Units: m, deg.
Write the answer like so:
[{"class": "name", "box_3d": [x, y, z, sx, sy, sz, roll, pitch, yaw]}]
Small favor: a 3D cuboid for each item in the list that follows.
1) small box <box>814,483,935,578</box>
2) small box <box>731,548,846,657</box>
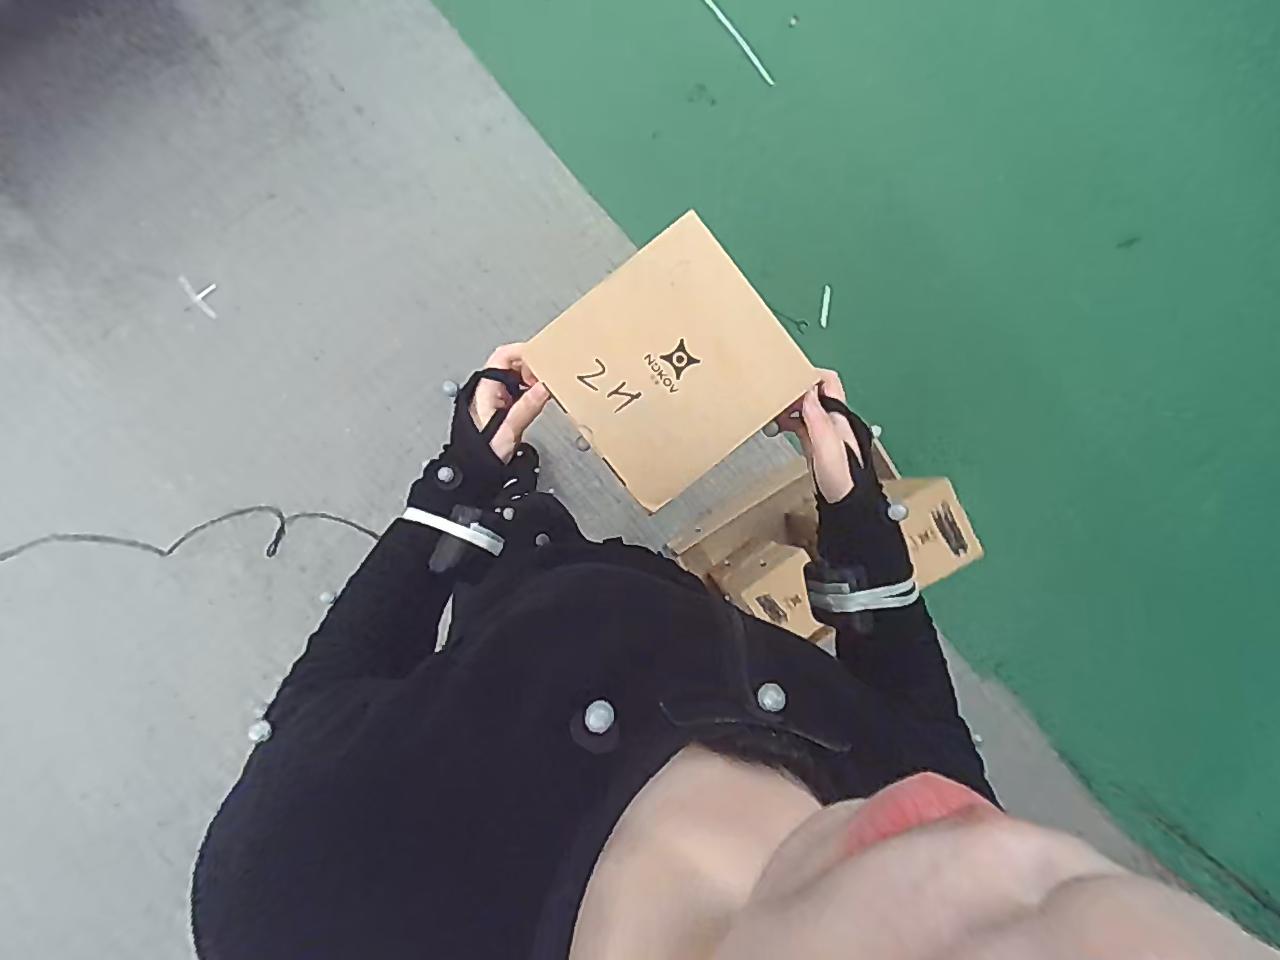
[{"class": "small box", "box_3d": [0.540, 0.111, 1.266, 0.179, 0.176, 0.168, -21, 90, -3]}, {"class": "small box", "box_3d": [0.326, 0.271, 1.238, 0.179, 0.176, 0.168, -33, 90, -7]}]
